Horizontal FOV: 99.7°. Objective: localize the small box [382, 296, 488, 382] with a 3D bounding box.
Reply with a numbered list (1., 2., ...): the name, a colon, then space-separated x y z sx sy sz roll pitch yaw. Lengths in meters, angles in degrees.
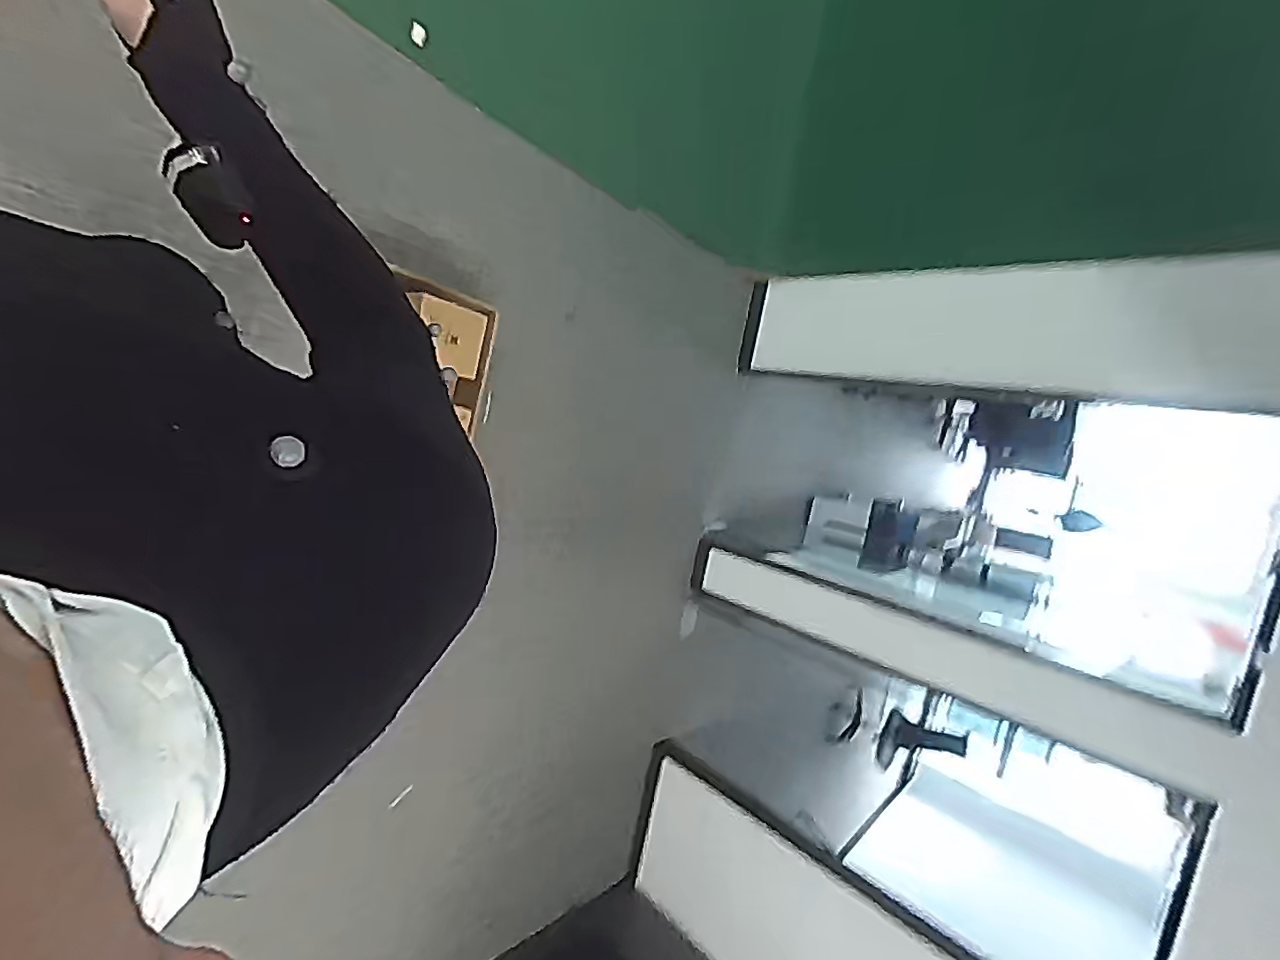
1. small box: -0.520 -0.357 1.370 0.179 0.176 0.168 10 95 -48
